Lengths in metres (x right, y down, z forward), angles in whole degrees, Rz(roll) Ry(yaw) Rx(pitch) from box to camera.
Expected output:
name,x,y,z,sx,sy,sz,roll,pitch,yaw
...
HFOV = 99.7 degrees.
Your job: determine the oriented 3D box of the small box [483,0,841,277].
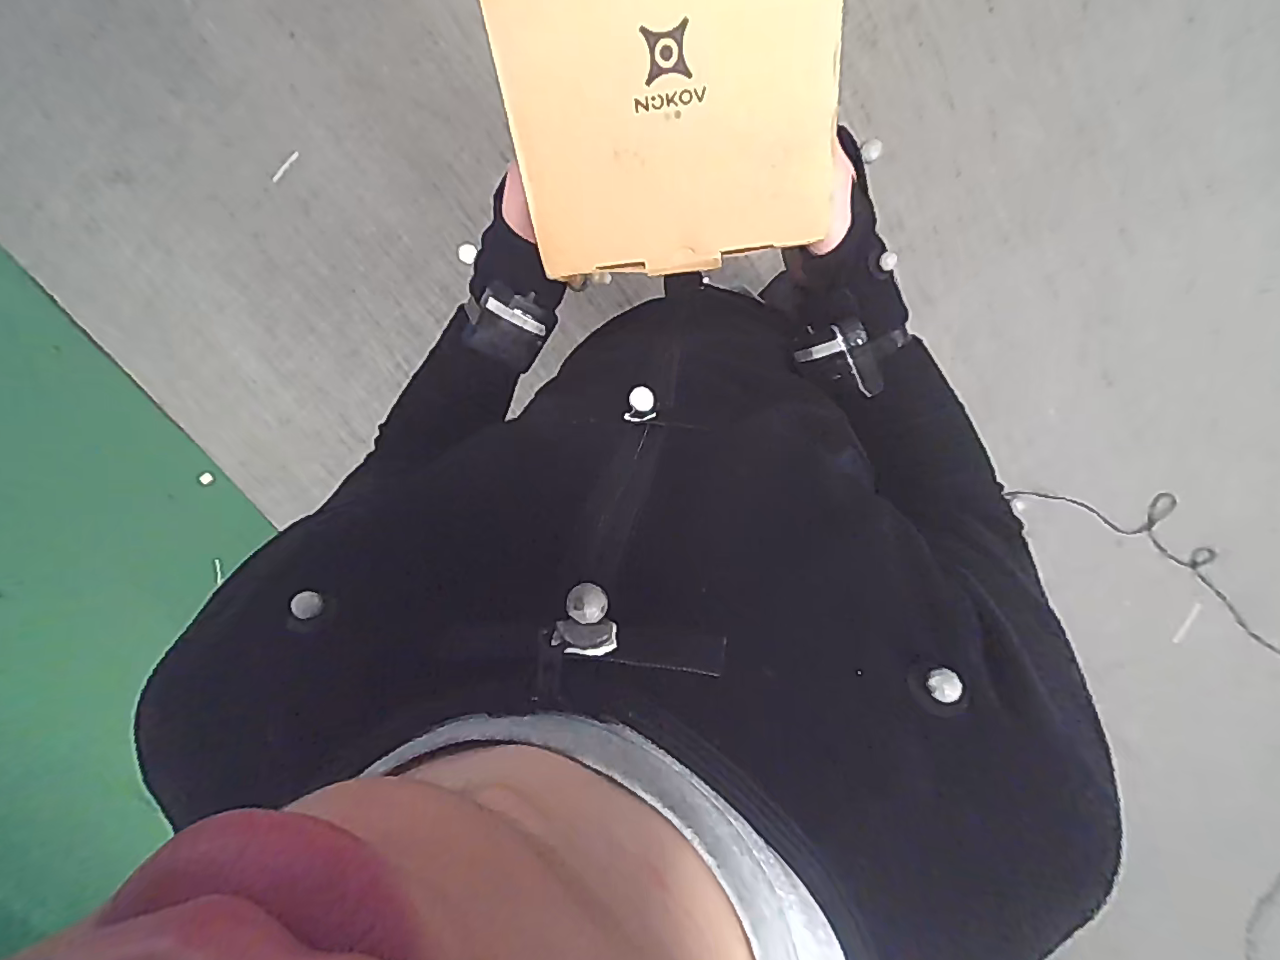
name,x,y,z,sx,sy,sz,roll,pitch,yaw
small box,0.016,-0.244,0.328,0.168,0.176,0.179,-5,126,6
